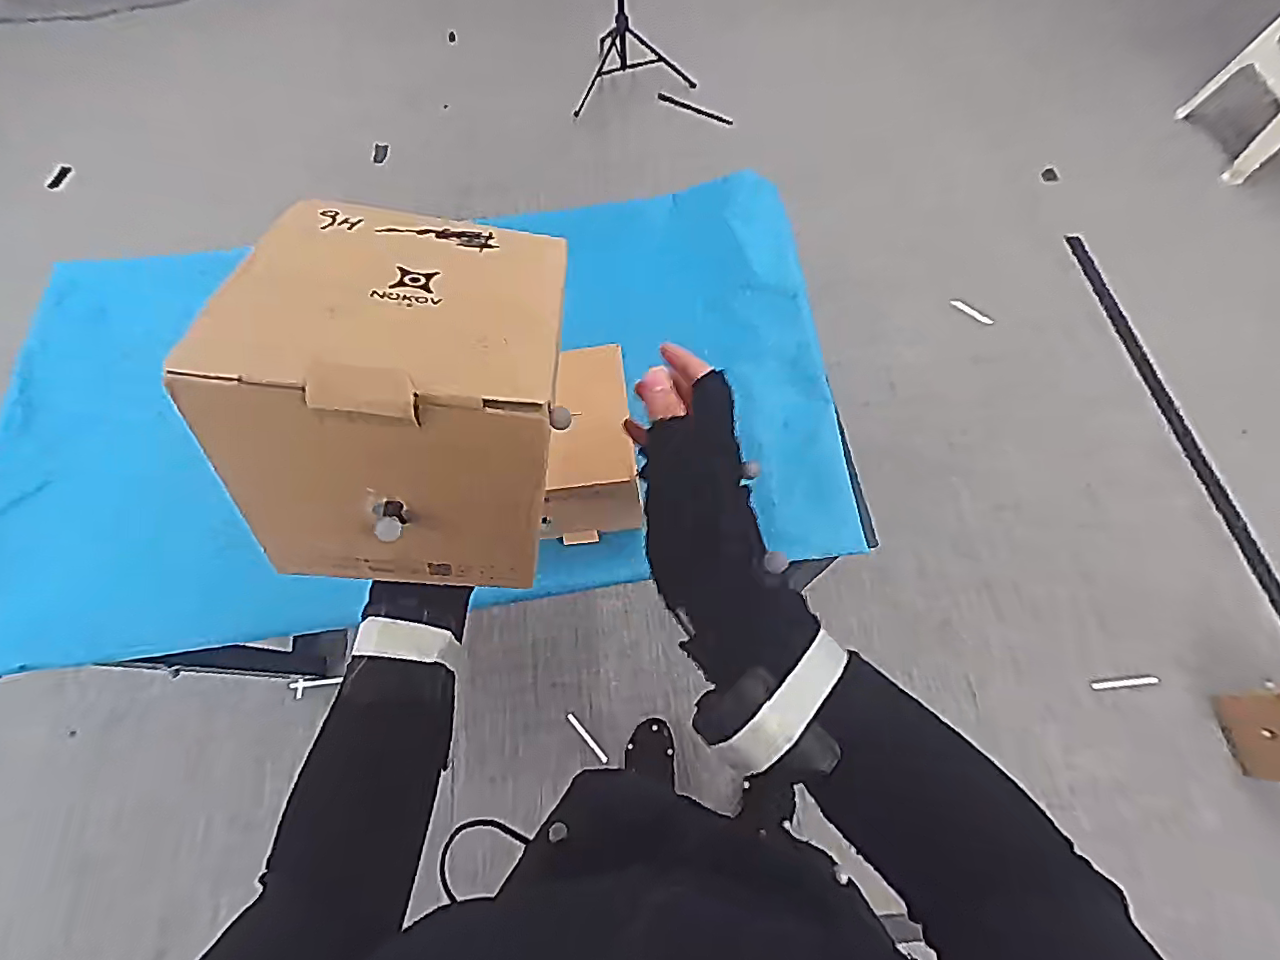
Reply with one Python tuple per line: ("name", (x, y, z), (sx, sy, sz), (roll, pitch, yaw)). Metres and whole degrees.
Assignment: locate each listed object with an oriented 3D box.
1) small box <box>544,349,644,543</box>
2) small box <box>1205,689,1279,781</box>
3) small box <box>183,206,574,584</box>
("small box", (-0.090, -0.035, 0.674), (0.168, 0.176, 0.179), (-7, 67, 0))
("small box", (1.394, 0.543, 1.153), (0.168, 0.176, 0.179), (-4, 67, 0))
("small box", (-0.138, -0.047, 0.361), (0.168, 0.176, 0.179), (7, 50, -10))
